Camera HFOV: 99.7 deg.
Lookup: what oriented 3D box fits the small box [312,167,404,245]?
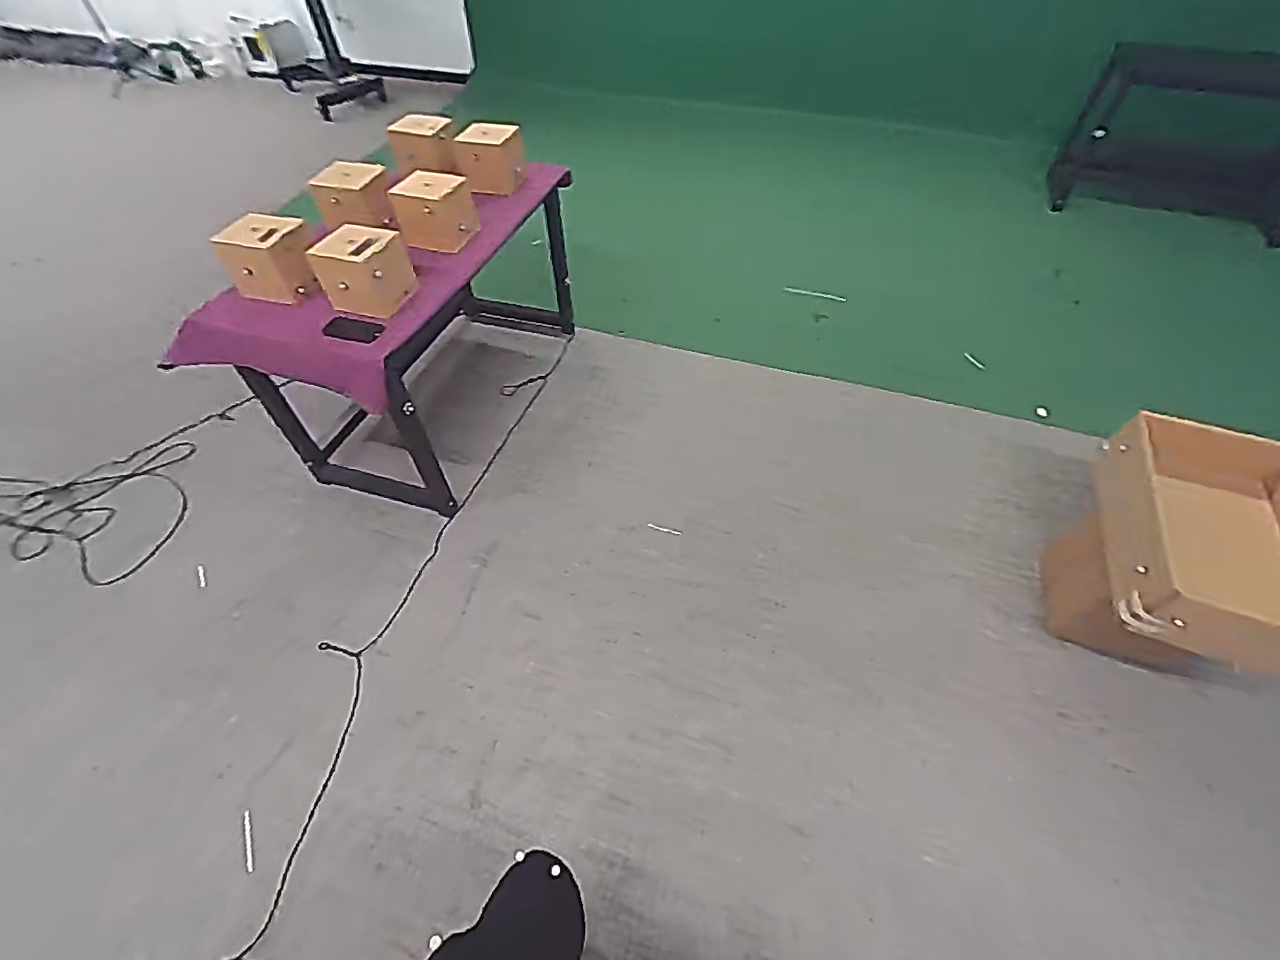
[{"bbox_3d":[-0.897,-0.880,1.741,0.179,0.176,0.168,12,52,9],"label":"small box"}]

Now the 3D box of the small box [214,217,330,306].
[{"bbox_3d":[-1.017,-0.610,1.517,0.179,0.176,0.168,11,51,9],"label":"small box"}]

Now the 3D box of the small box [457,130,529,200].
[{"bbox_3d":[-0.519,-1.128,1.938,0.179,0.176,0.168,13,53,12],"label":"small box"}]

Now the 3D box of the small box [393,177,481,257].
[{"bbox_3d":[-0.628,-0.823,1.693,0.179,0.176,0.168,15,52,12],"label":"small box"}]

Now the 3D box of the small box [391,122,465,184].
[{"bbox_3d":[-0.777,-1.200,2.001,0.179,0.176,0.168,12,52,10],"label":"small box"}]
